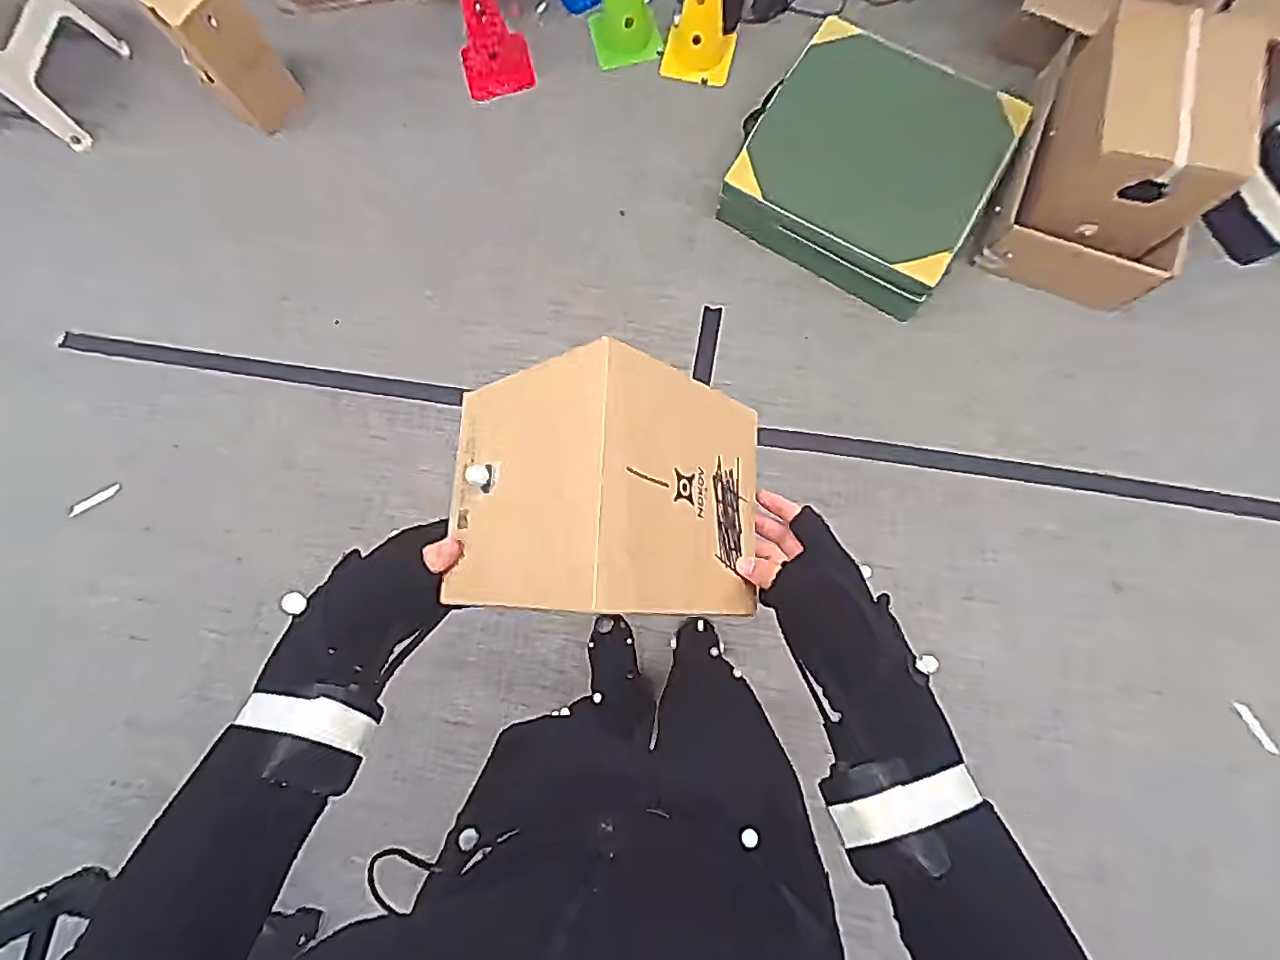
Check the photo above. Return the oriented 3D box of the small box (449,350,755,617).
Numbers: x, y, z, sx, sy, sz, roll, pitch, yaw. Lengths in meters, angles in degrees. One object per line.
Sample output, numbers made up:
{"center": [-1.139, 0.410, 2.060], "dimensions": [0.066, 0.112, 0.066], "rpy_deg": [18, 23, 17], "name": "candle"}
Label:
{"center": [-0.025, 0.020, 0.435], "dimensions": [0.176, 0.179, 0.168], "rpy_deg": [-9, 73, 43], "name": "small box"}
